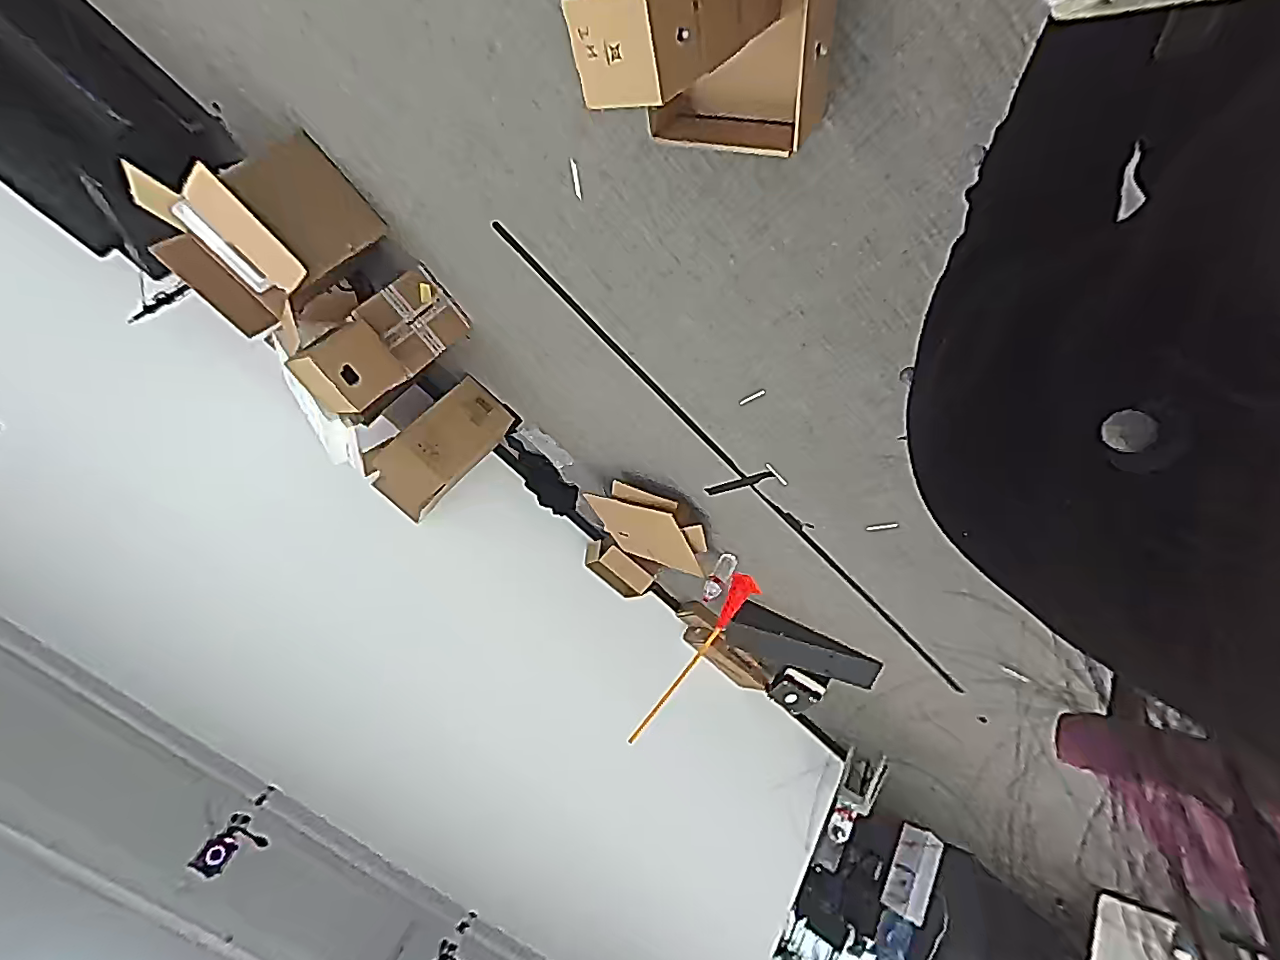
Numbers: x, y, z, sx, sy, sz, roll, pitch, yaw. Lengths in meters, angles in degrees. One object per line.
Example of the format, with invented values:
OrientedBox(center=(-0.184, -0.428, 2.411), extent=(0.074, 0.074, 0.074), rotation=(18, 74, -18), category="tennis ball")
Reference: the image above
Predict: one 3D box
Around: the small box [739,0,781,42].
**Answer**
OrientedBox(center=(0.176, -1.023, 1.101), extent=(0.179, 0.176, 0.168), rotation=(22, 150, 25), category="small box")

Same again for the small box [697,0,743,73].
OrientedBox(center=(0.088, -0.904, 1.035), extent=(0.179, 0.176, 0.168), rotation=(22, 149, 30), category="small box")

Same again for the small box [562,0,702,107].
OrientedBox(center=(-0.001, -0.788, 0.957), extent=(0.179, 0.176, 0.168), rotation=(20, 147, 30), category="small box")
